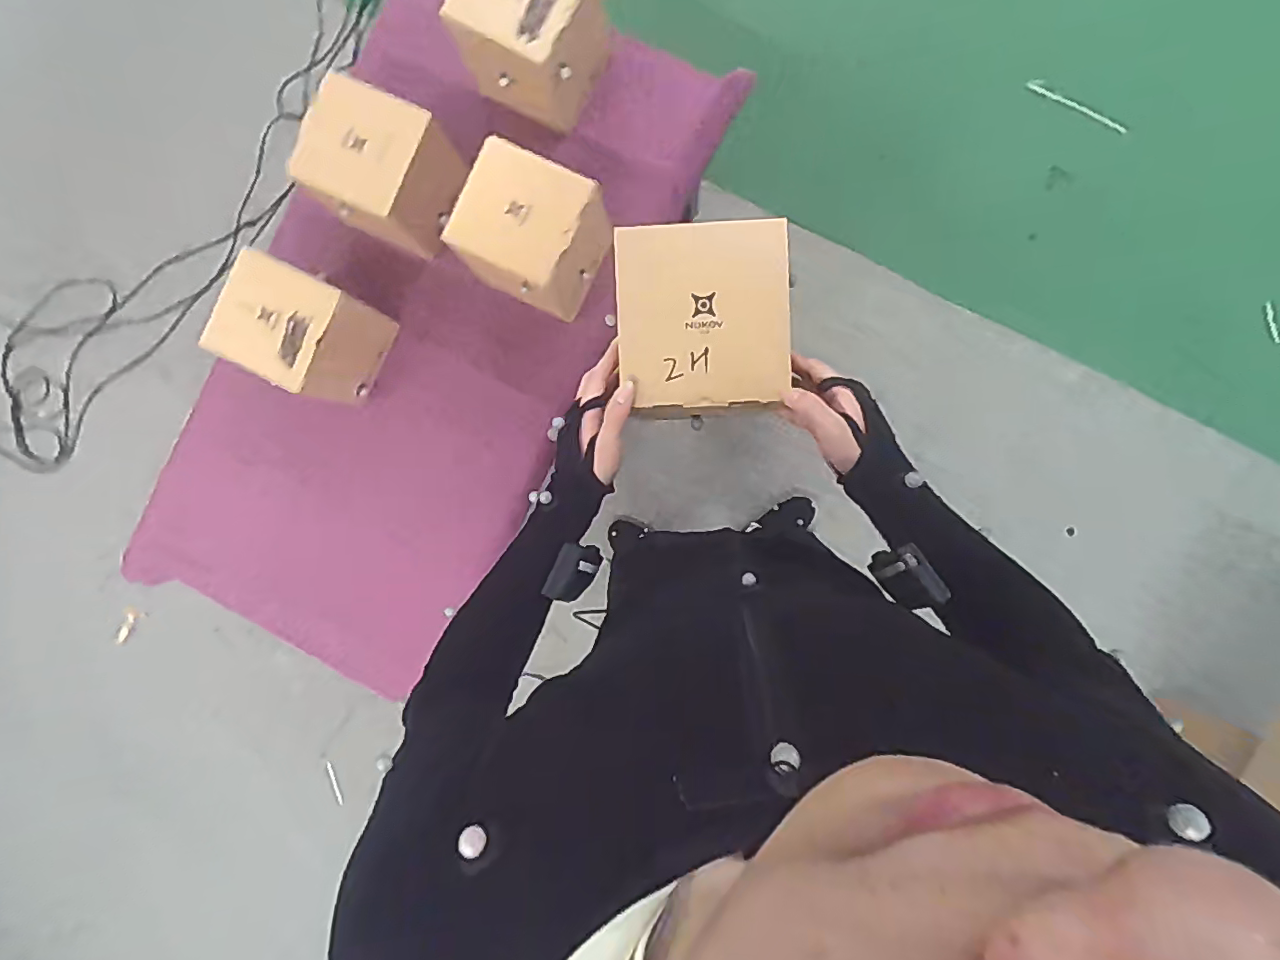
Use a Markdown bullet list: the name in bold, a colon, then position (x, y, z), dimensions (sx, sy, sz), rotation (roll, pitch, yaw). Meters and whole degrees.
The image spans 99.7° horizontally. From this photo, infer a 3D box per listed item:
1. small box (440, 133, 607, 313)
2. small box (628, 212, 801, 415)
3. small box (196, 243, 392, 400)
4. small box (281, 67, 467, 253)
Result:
- **small box**: position (-0.170, -0.386, 0.847), dimensions (0.179, 0.176, 0.168), rotation (26, 92, 4)
- **small box**: position (0.072, -0.167, 0.590), dimensions (0.168, 0.176, 0.179), rotation (-1, 92, 3)
- **small box**: position (-0.540, -0.240, 0.870), dimensions (0.179, 0.176, 0.168), rotation (26, 91, 4)
- **small box**: position (-0.410, -0.494, 0.863), dimensions (0.179, 0.176, 0.168), rotation (26, 93, 2)
